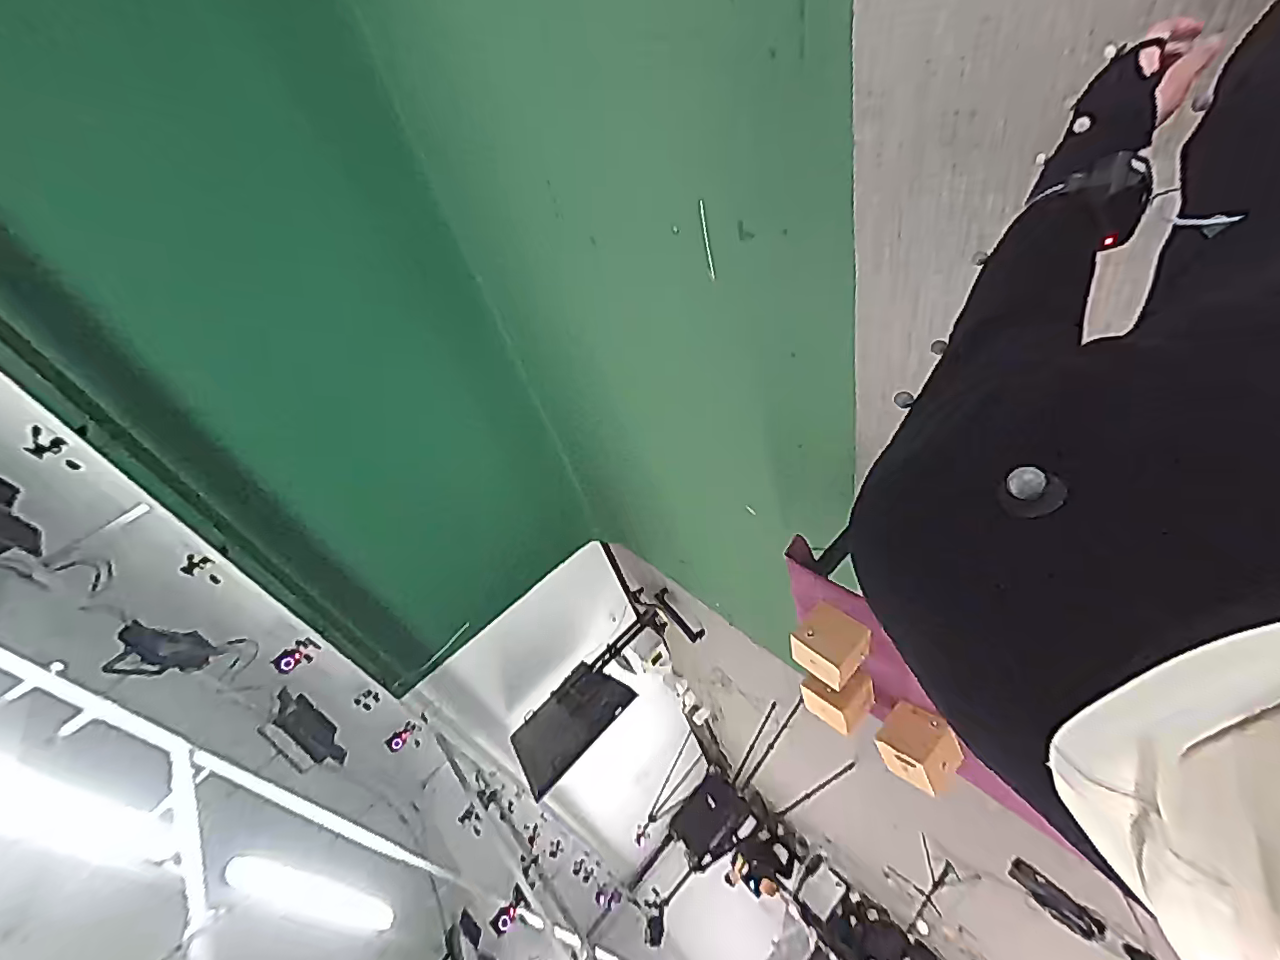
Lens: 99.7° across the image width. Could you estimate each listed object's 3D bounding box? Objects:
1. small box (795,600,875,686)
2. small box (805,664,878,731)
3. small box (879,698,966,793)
[{"bbox_3d":[0.618,0.508,1.719,0.179,0.176,0.168,31,153,39],"label":"small box"},{"bbox_3d":[0.715,0.738,1.917,0.179,0.176,0.168,24,146,46],"label":"small box"},{"bbox_3d":[0.894,0.829,1.708,0.168,0.176,0.179,12,138,58],"label":"small box"}]
